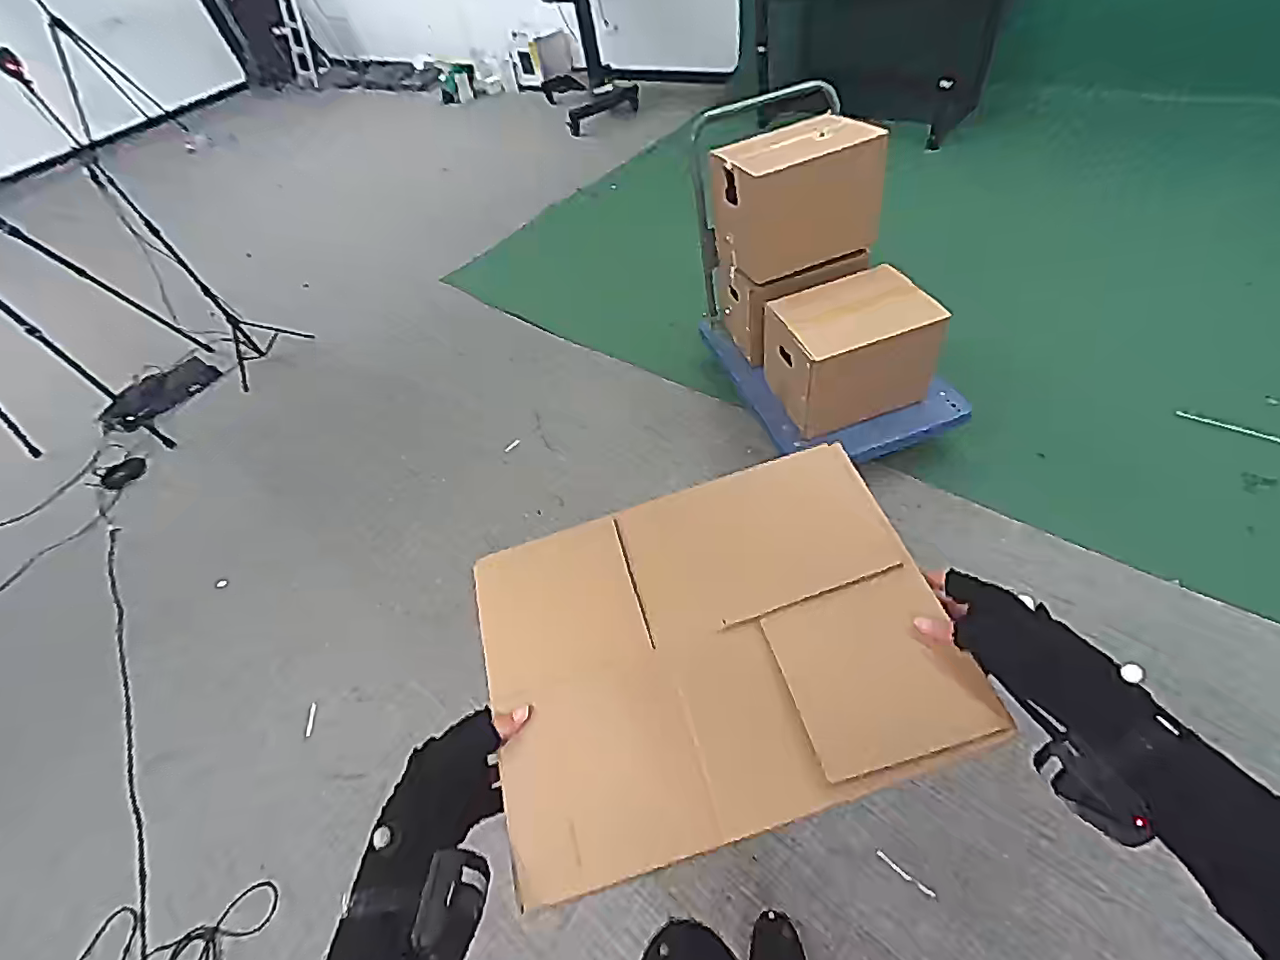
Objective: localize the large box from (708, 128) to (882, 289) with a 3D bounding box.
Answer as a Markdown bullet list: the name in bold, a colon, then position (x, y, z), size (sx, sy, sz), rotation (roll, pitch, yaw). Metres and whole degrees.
- **large box**: position (0.463, -0.838, 1.665), size (0.408, 0.320, 0.320), rotation (-20, 44, -6)
